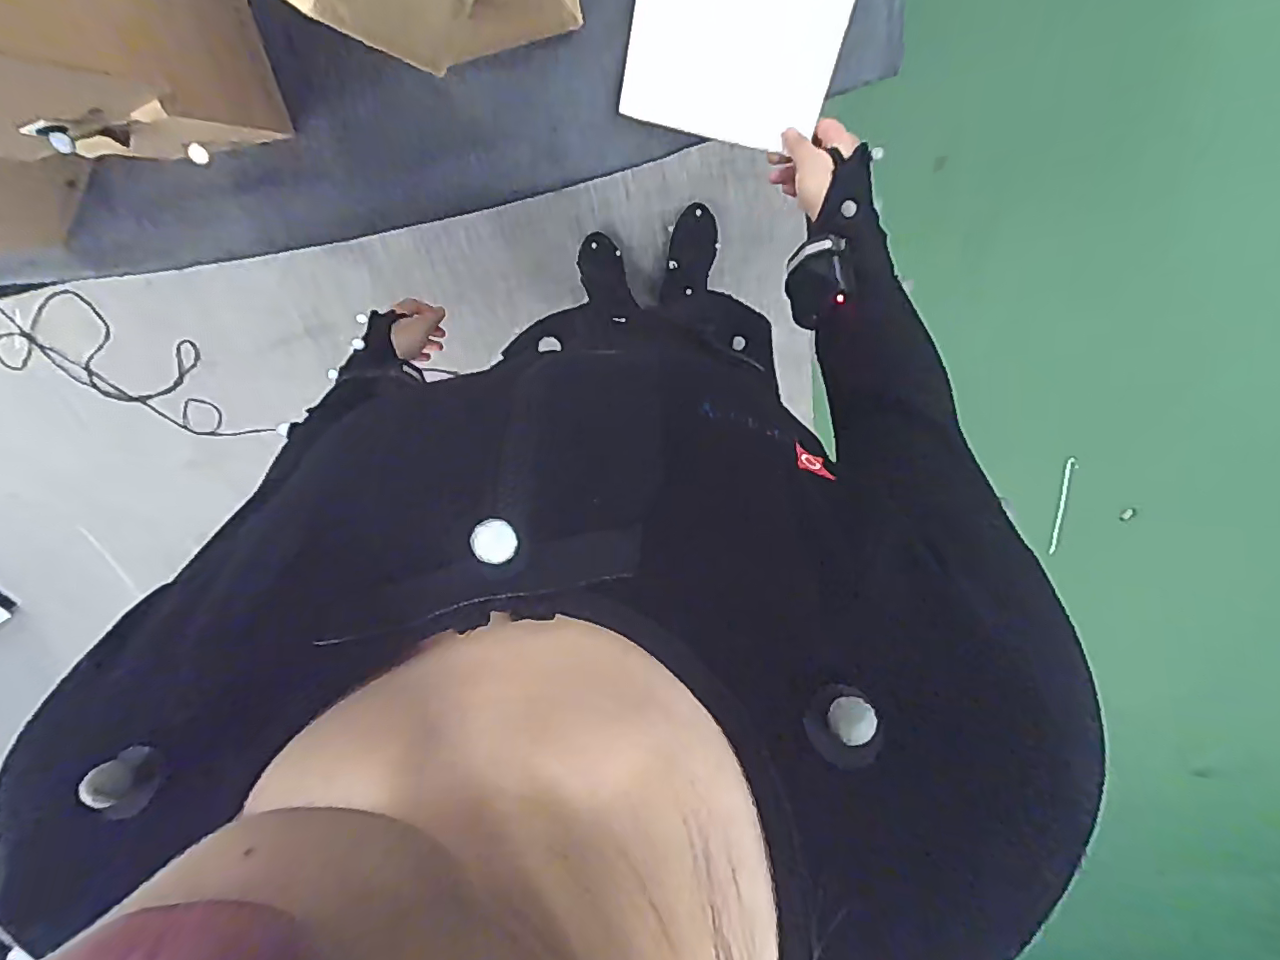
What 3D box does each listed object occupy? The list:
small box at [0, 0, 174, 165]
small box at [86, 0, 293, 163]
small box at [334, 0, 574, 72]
[{"bbox_3d":[-0.495,-0.339,0.367,0.168,0.176,0.179,-14,115,15],"label":"small box"},{"bbox_3d":[-0.482,-0.415,0.509,0.168,0.176,0.179,-4,117,10],"label":"small box"},{"bbox_3d":[-0.162,-0.468,0.445,0.179,0.176,0.168,-7,116,12],"label":"small box"}]
